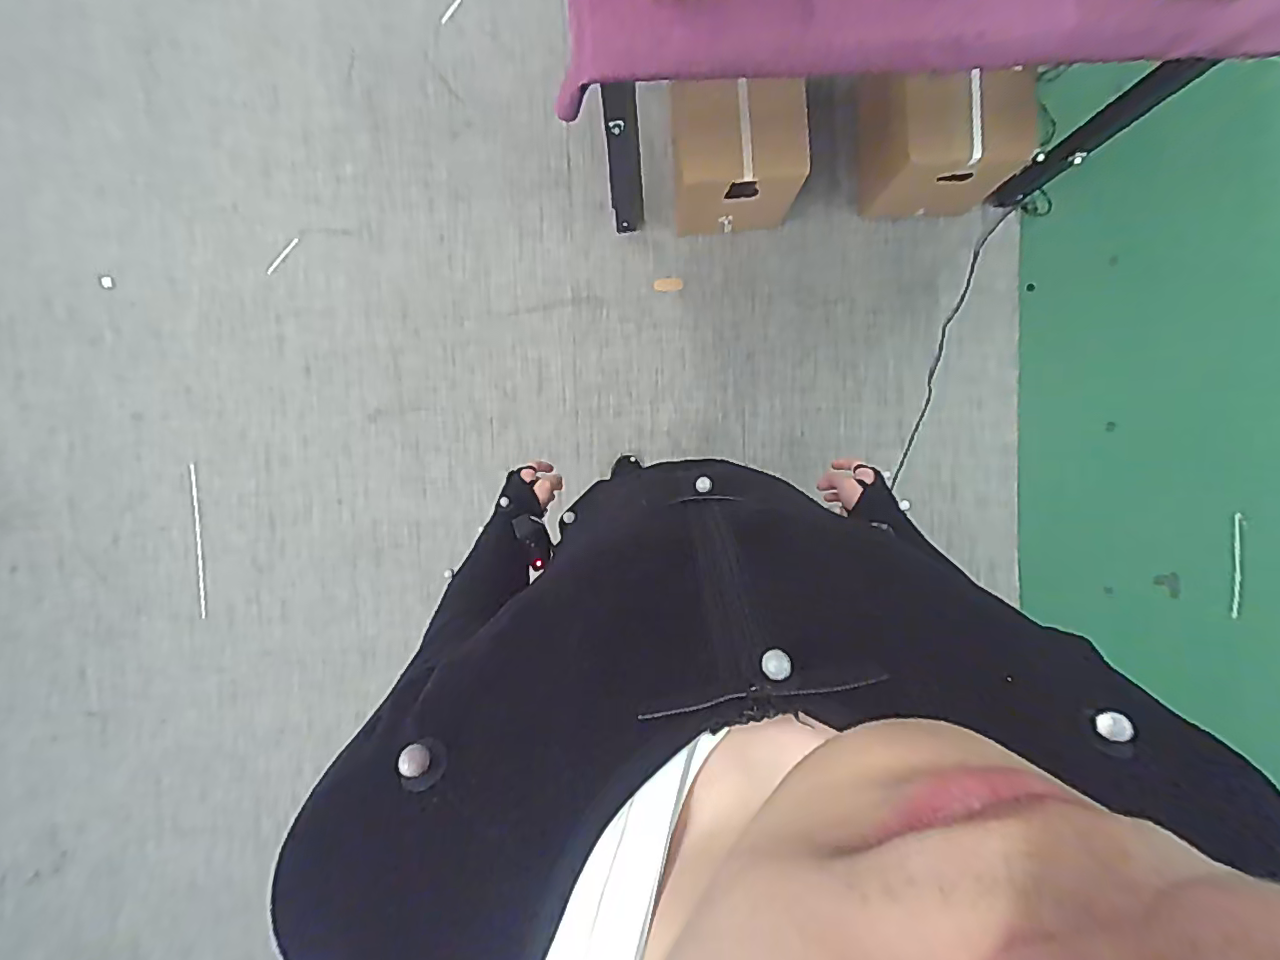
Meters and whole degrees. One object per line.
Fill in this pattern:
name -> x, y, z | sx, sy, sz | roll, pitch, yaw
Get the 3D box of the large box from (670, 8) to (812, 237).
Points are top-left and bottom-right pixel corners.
large box -> 0.252, -0.932, 1.460 | 0.320, 0.320, 0.408 | -4, 90, 0
